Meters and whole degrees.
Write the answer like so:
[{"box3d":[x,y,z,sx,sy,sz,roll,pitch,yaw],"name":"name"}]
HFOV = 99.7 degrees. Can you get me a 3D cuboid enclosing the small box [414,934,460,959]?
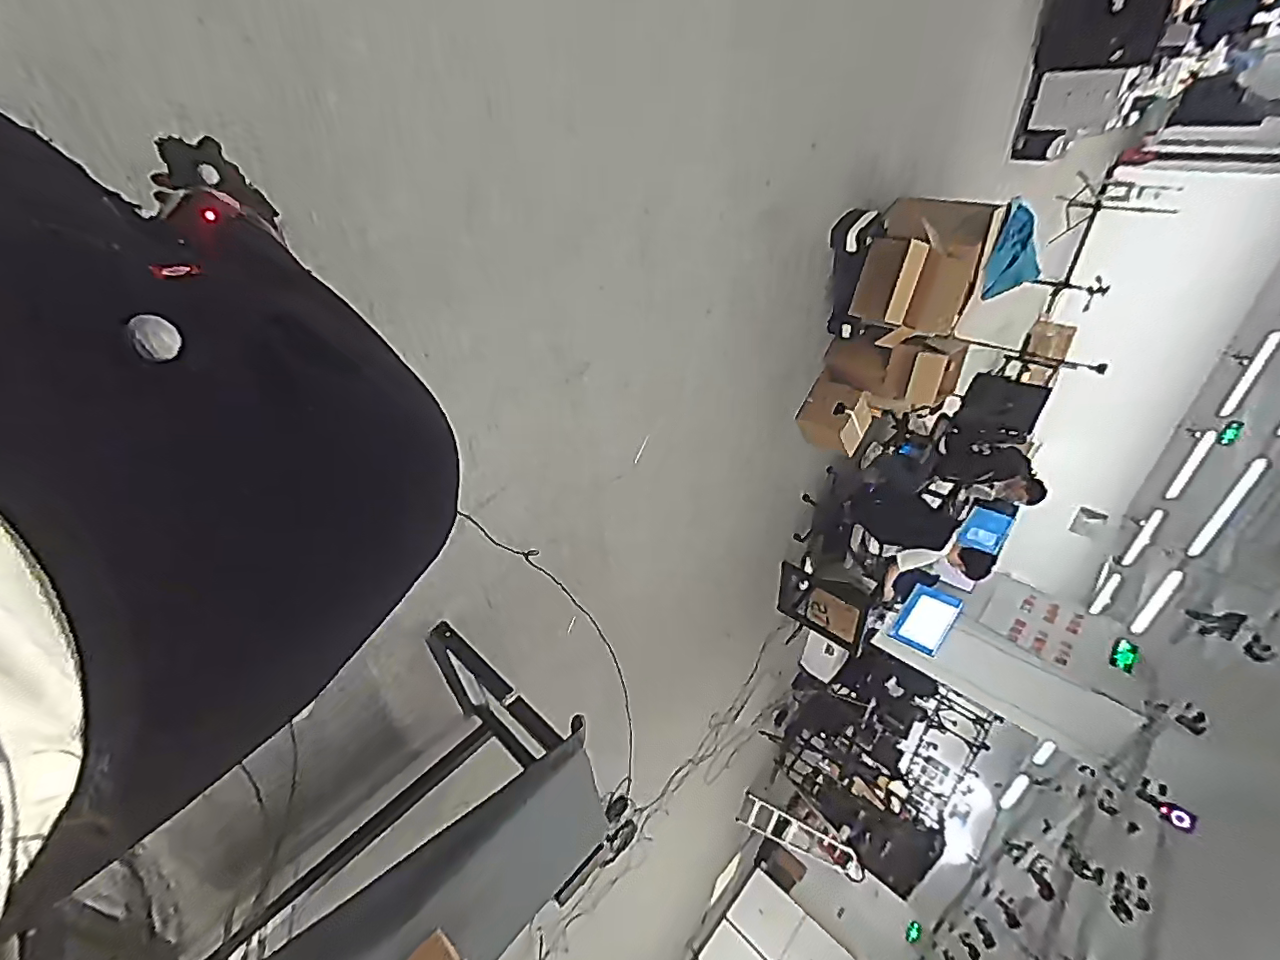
[{"box3d":[-0.487,1.230,1.267,0.179,0.176,0.168,-33,134,-34],"name":"small box"}]
